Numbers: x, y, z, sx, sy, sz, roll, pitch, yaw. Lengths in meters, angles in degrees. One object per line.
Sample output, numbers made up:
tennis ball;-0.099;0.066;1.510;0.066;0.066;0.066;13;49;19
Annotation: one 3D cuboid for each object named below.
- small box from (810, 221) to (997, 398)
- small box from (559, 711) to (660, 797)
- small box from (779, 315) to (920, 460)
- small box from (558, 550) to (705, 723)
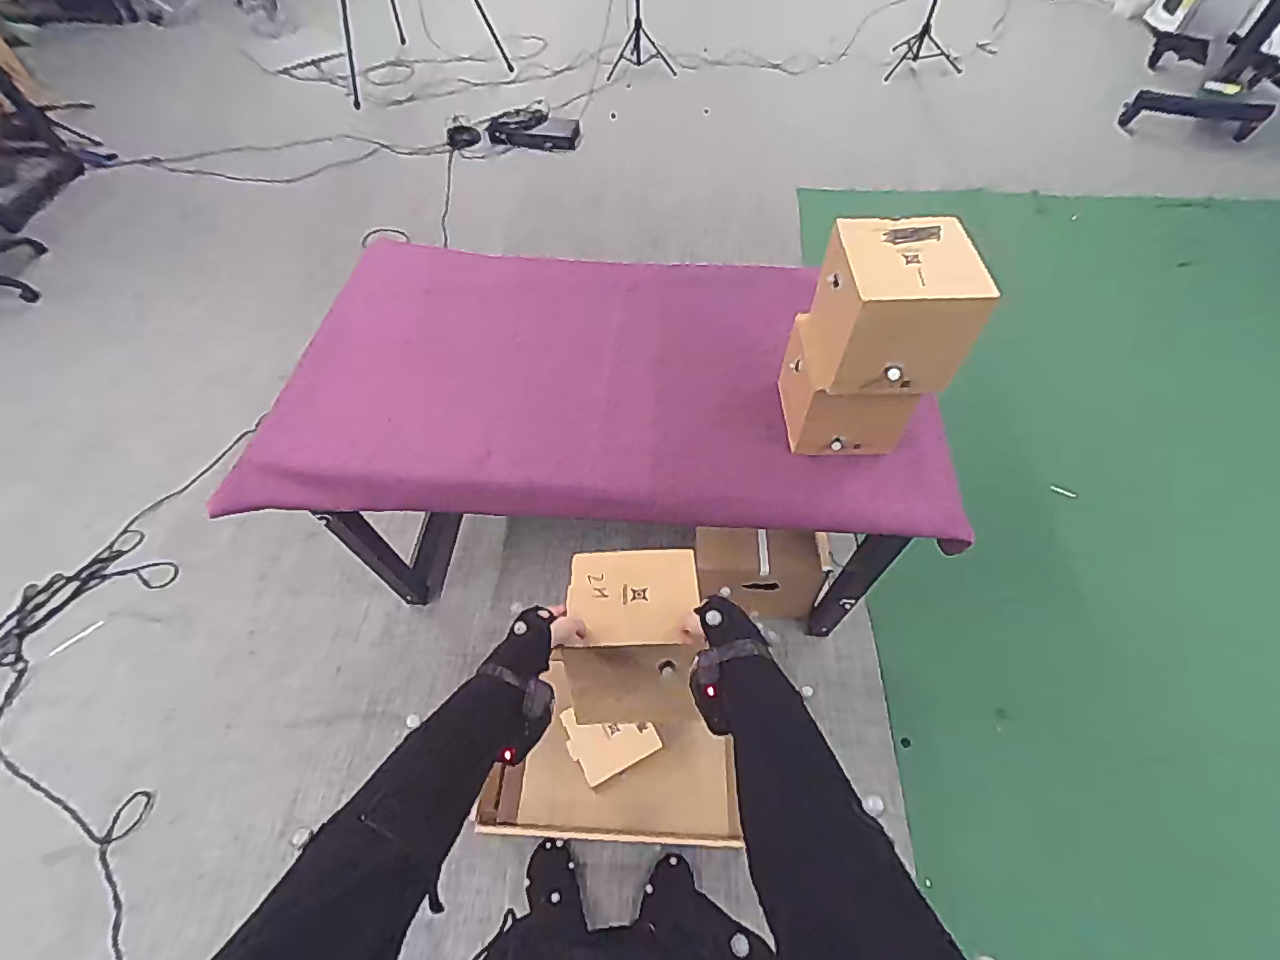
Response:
small box;0.345;-0.235;0.754;0.168;0.176;0.179;-1;55;3
small box;-0.063;0.593;1.224;0.179;0.176;0.168;-24;59;-13
small box;0.334;-0.152;0.897;0.168;0.176;0.179;-1;55;3
small box;-0.007;0.215;0.745;0.179;0.176;0.168;-3;35;2
